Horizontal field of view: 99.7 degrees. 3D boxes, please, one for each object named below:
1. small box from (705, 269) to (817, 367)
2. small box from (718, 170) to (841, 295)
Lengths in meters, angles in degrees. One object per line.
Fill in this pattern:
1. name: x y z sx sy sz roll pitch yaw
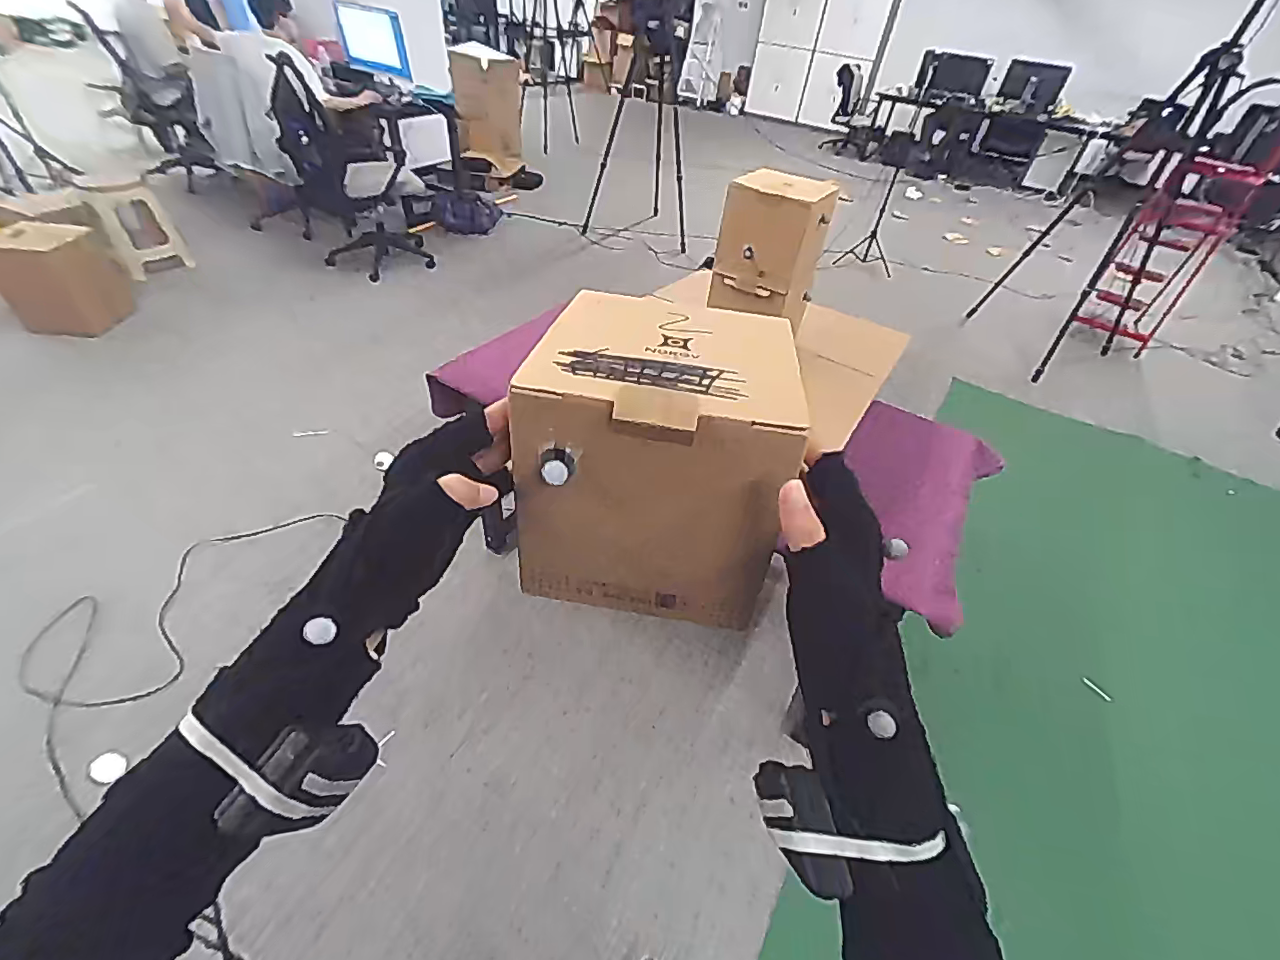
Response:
1. small box: 0.258 -0.373 1.181 0.168 0.176 0.179 27 45 22
2. small box: 0.270 -0.491 1.069 0.168 0.176 0.179 26 45 20
